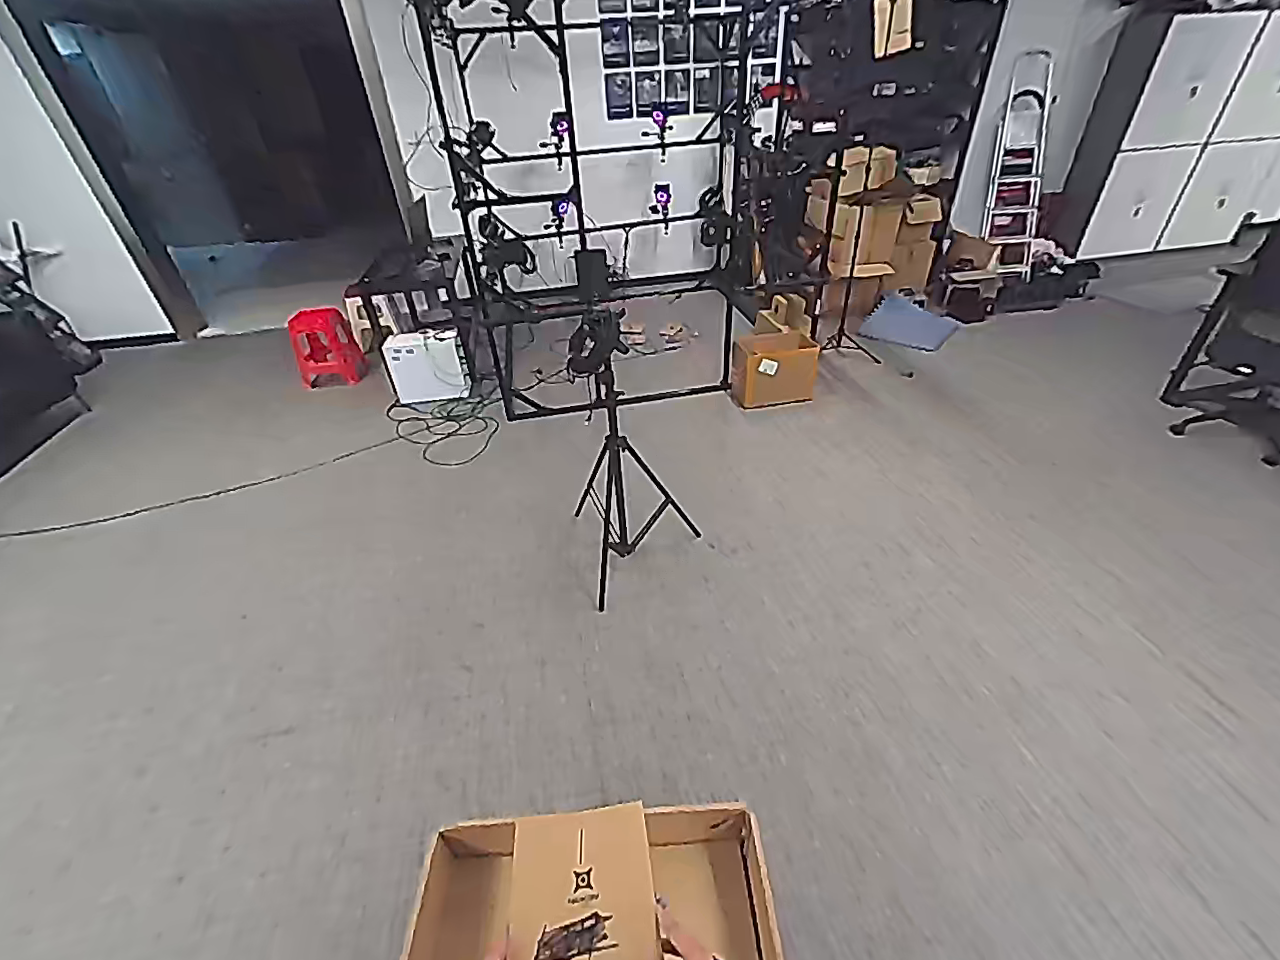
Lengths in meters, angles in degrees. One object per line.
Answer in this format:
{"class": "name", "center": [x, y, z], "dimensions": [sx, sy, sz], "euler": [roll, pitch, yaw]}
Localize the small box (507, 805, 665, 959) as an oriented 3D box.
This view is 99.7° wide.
{"class": "small box", "center": [-0.059, 0.540, 0.657], "dimensions": [0.168, 0.176, 0.179], "euler": [-8, 30, -4]}
